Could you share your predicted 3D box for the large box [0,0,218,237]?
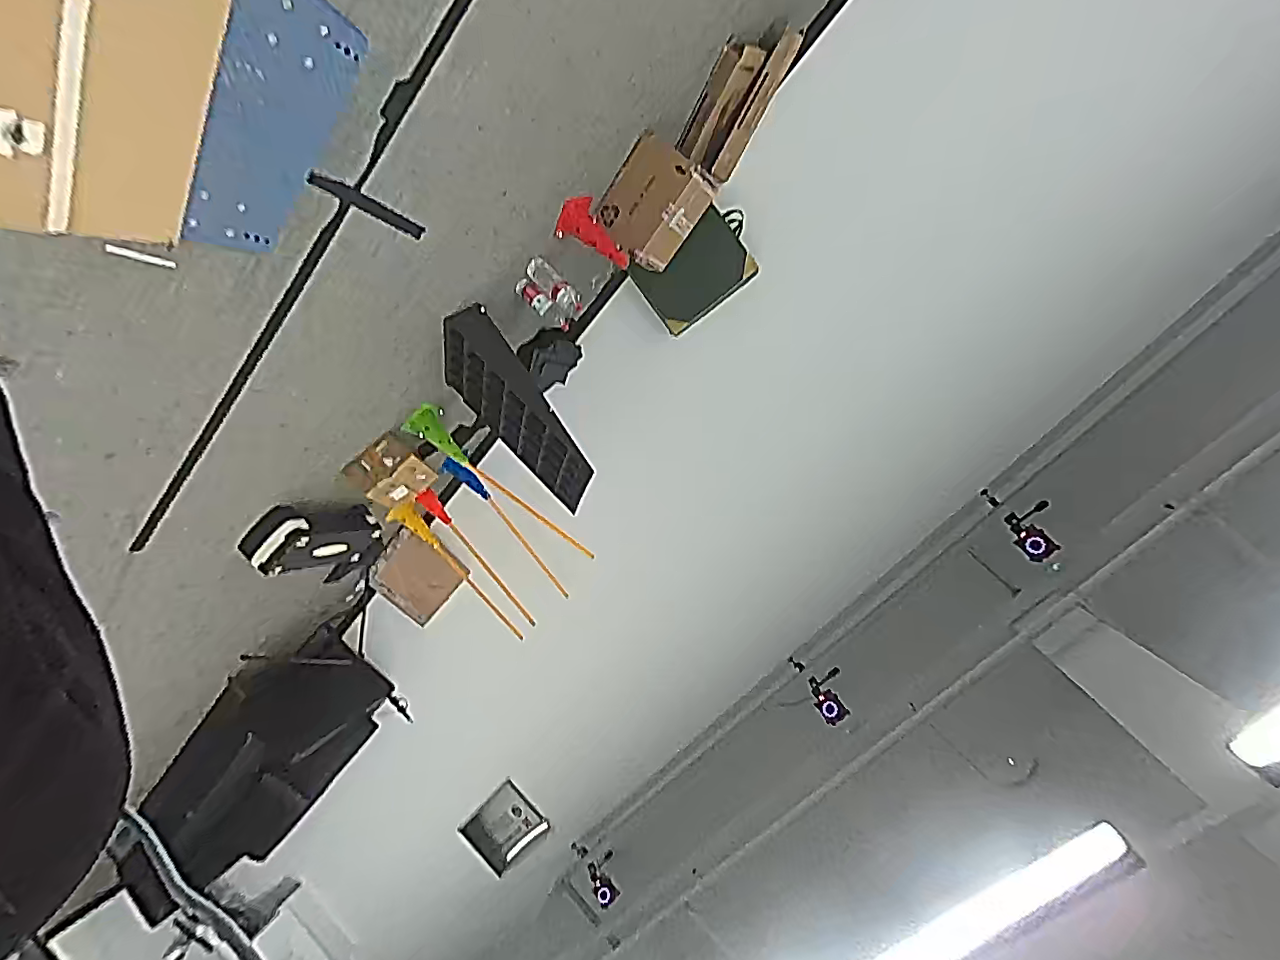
[{"bbox_3d":[-0.836,-0.599,0.691,0.408,0.320,0.320,-48,173,28],"label":"large box"}]
